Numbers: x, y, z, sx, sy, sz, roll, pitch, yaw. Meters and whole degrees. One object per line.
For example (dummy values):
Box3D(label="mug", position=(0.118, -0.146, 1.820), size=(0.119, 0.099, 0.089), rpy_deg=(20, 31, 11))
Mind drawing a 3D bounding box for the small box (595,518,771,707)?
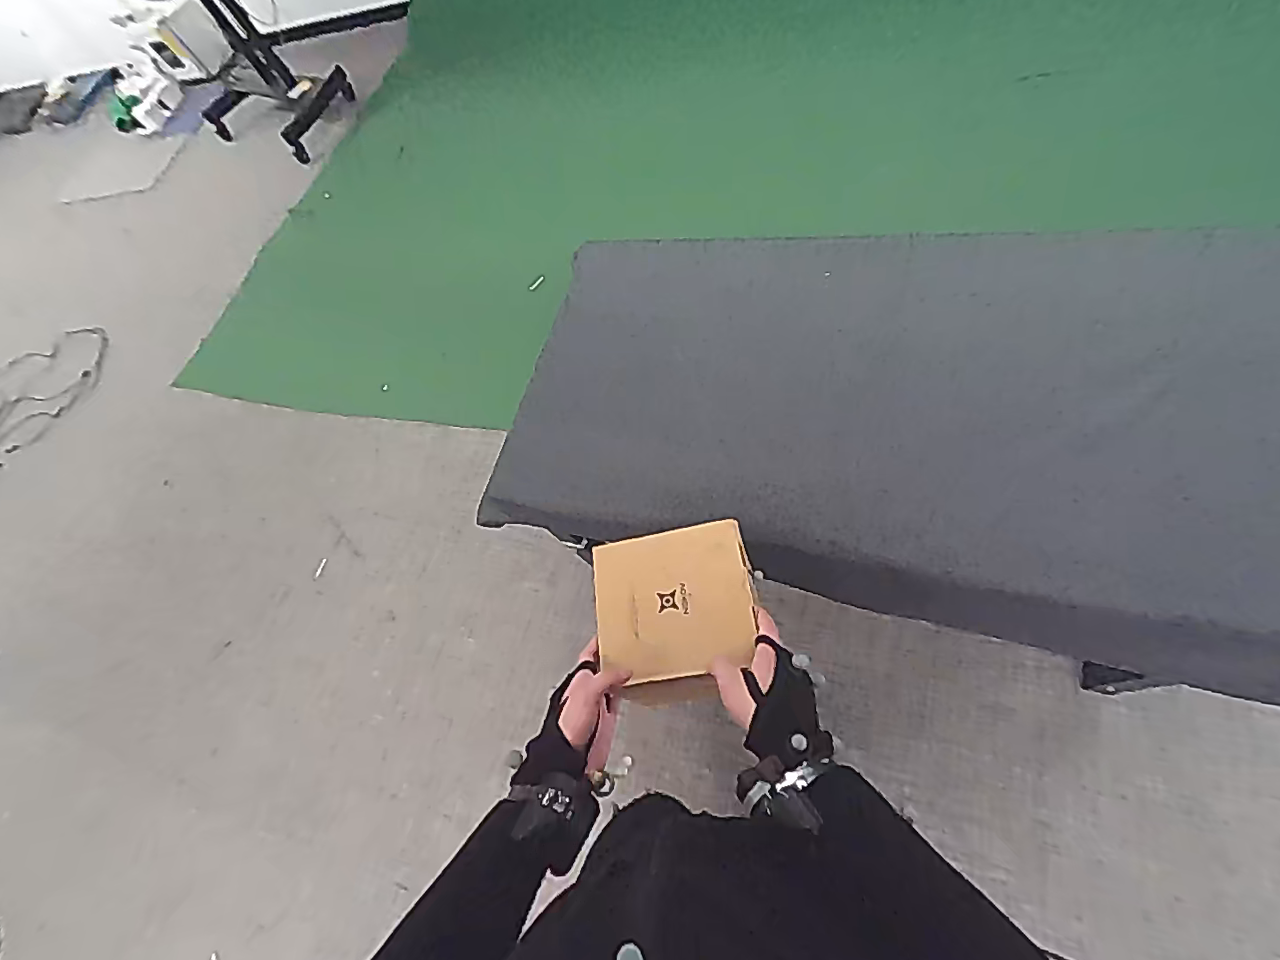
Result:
Box3D(label="small box", position=(0.056, 0.166, 0.649), size=(0.179, 0.176, 0.168), rpy_deg=(-12, 56, 11))
